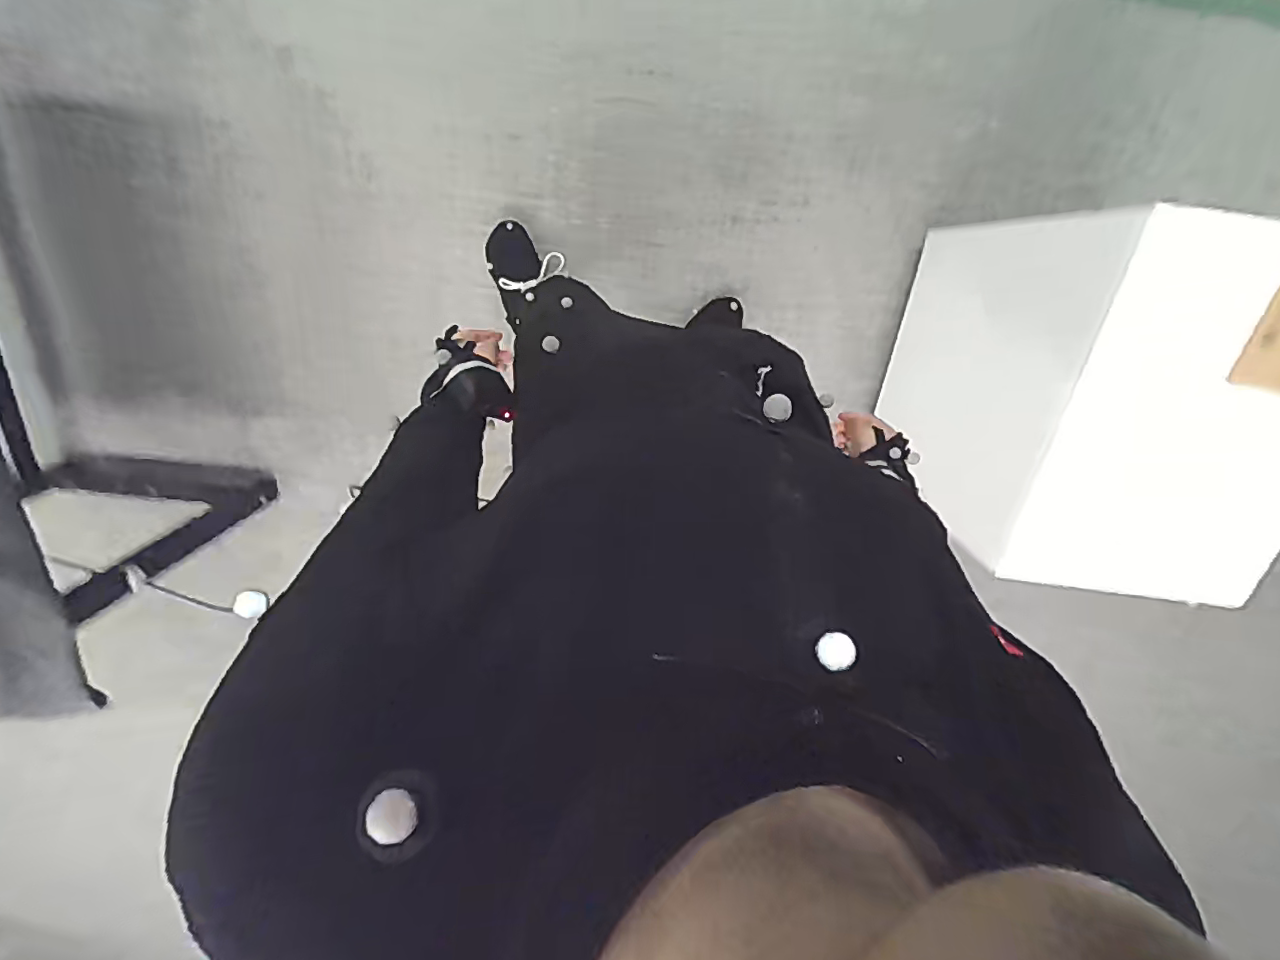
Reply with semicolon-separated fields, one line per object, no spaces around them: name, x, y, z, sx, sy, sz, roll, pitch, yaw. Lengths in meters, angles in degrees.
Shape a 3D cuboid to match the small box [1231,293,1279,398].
small box;0.858;-0.154;0.603;0.179;0.176;0.168;8;113;-1
